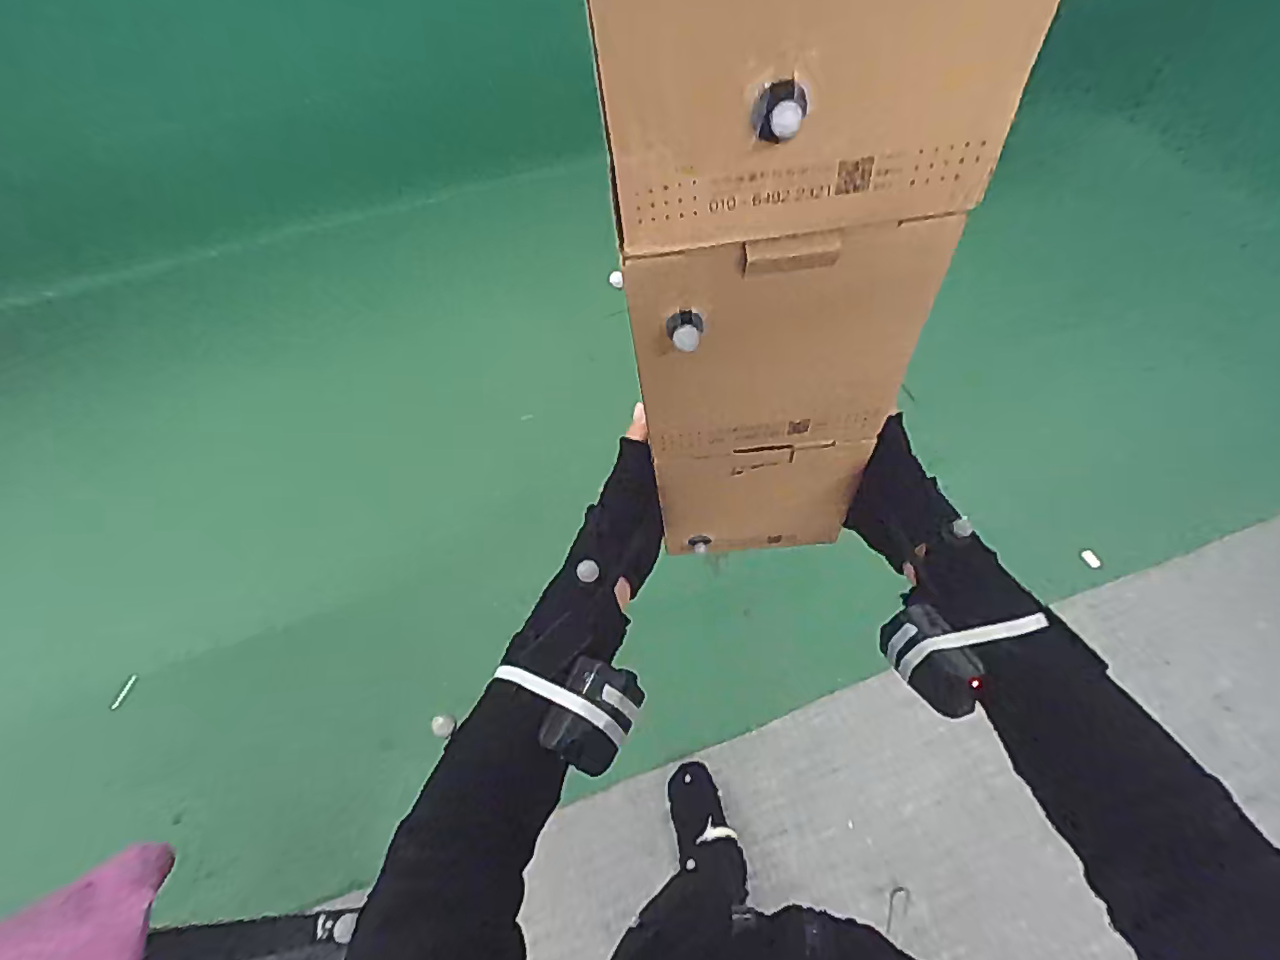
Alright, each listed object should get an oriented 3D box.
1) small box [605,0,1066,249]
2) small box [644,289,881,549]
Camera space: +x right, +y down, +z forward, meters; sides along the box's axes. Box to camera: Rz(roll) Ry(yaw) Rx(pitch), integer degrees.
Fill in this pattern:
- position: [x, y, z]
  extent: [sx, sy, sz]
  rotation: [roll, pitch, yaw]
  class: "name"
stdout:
- position: [0.066, -0.232, 0.241]
  extent: [0.168, 0.176, 0.179]
  rotation: [-7, 56, 2]
  class: "small box"
- position: [0.100, -0.045, 0.508]
  extent: [0.168, 0.176, 0.179]
  rotation: [-8, 57, 2]
  class: "small box"
